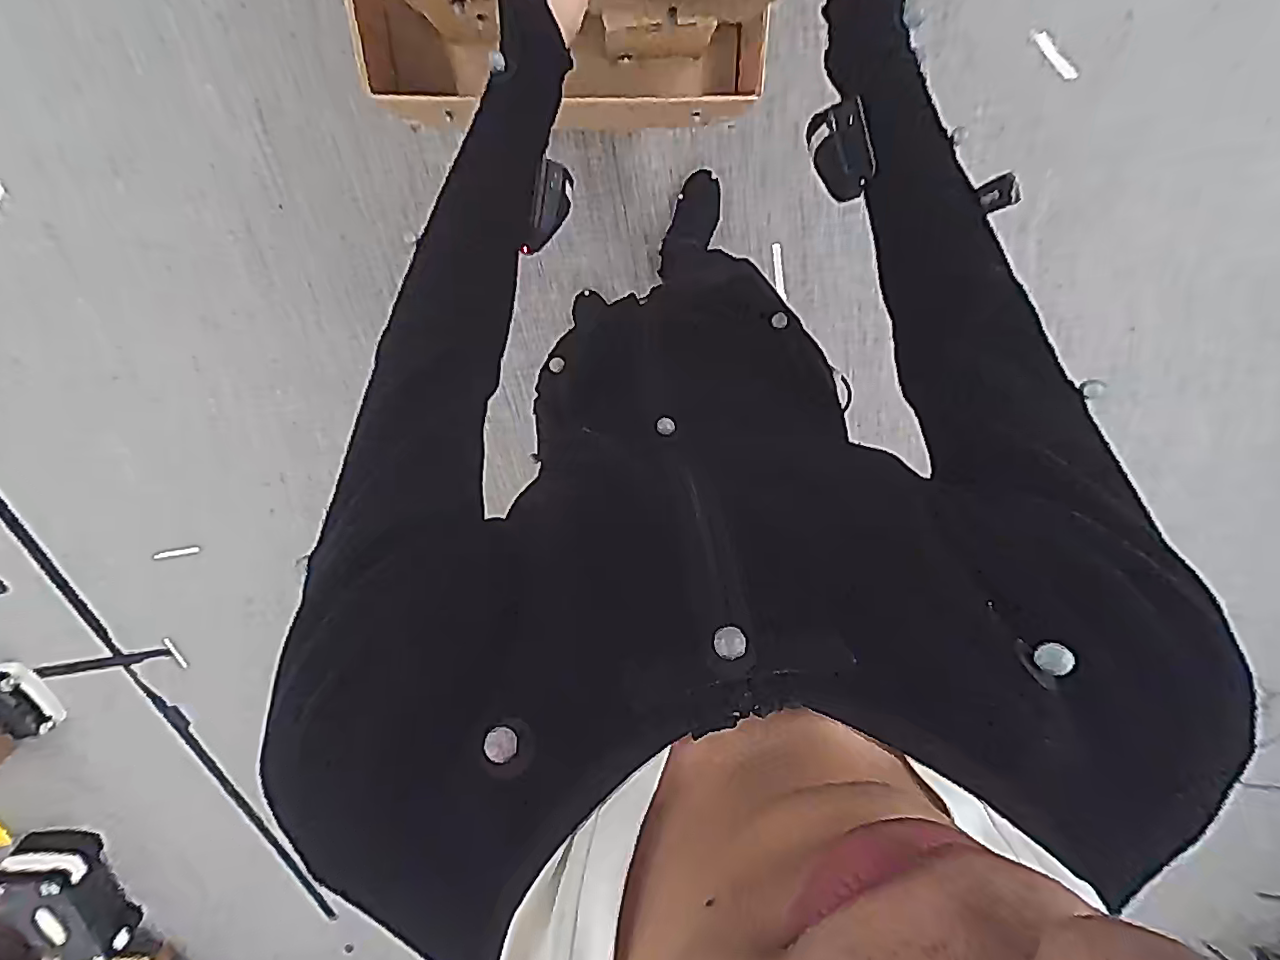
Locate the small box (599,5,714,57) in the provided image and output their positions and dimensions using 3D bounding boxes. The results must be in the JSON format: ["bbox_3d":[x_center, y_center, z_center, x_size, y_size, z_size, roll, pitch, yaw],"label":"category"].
[{"bbox_3d":[0.019,-0.763,0.813,0.168,0.176,0.179,-4,115,-1],"label":"small box"}]

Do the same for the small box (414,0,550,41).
[{"bbox_3d":[-0.236,-0.772,0.794,0.179,0.176,0.168,-5,116,-2],"label":"small box"}]

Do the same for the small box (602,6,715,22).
[{"bbox_3d":[0.028,-0.695,0.665,0.168,0.176,0.179,-4,114,-1],"label":"small box"}]

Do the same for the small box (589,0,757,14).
[{"bbox_3d":[0.036,-0.523,0.463,0.179,0.176,0.168,0,123,-4],"label":"small box"}]

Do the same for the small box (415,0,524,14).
[{"bbox_3d":[-0.237,-0.703,0.645,0.168,0.176,0.179,-6,115,2],"label":"small box"}]
